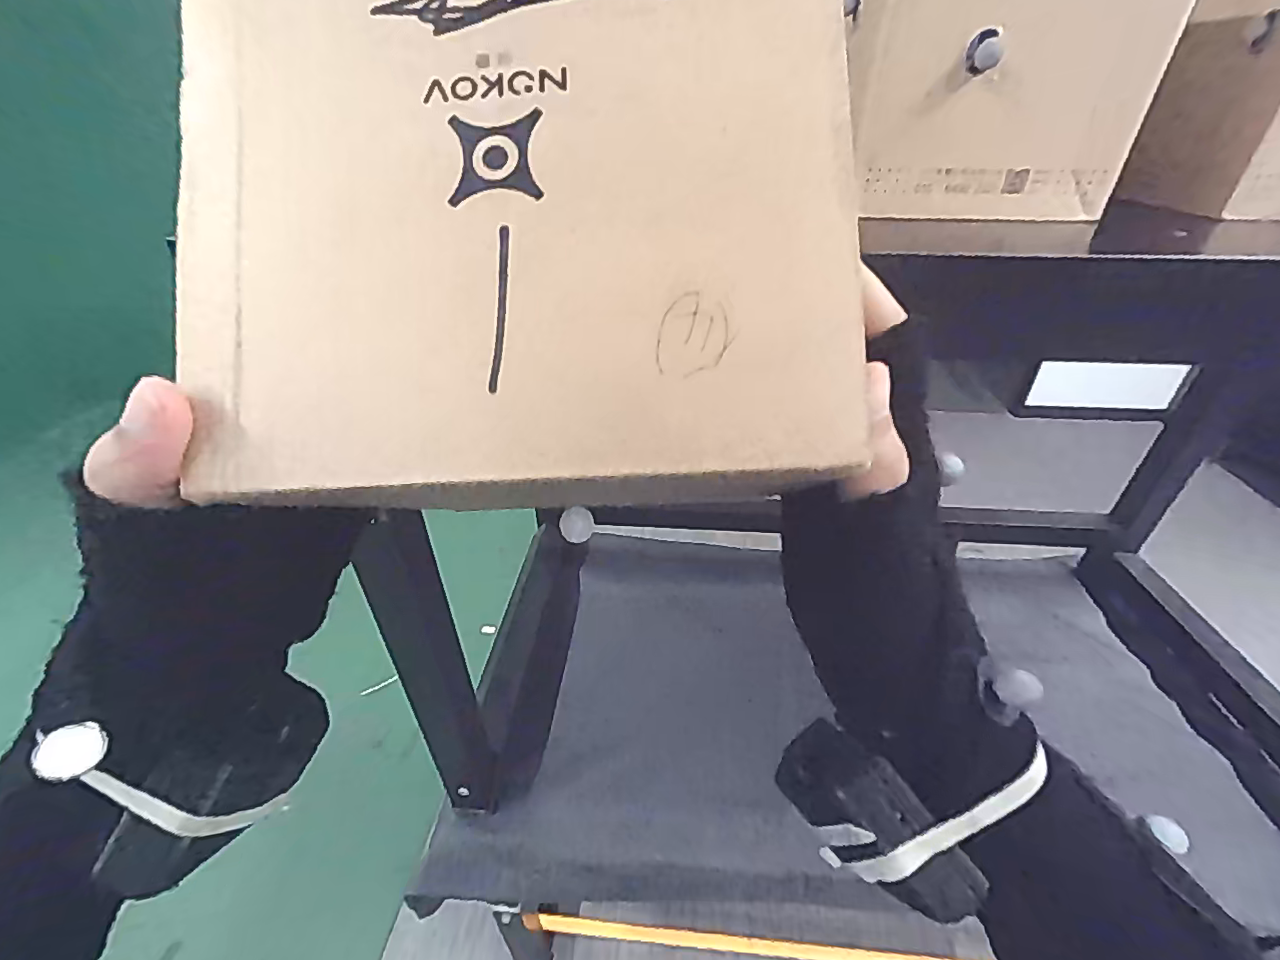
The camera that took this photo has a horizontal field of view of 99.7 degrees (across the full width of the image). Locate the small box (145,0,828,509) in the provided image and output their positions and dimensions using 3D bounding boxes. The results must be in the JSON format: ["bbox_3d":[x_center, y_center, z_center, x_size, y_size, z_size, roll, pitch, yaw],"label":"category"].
[{"bbox_3d":[-0.035,-0.081,0.213,0.168,0.179,0.176,-3,-4,5],"label":"small box"}]

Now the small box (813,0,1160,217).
[{"bbox_3d":[0.227,-0.293,0.391,0.168,0.176,0.179,4,34,7],"label":"small box"}]
